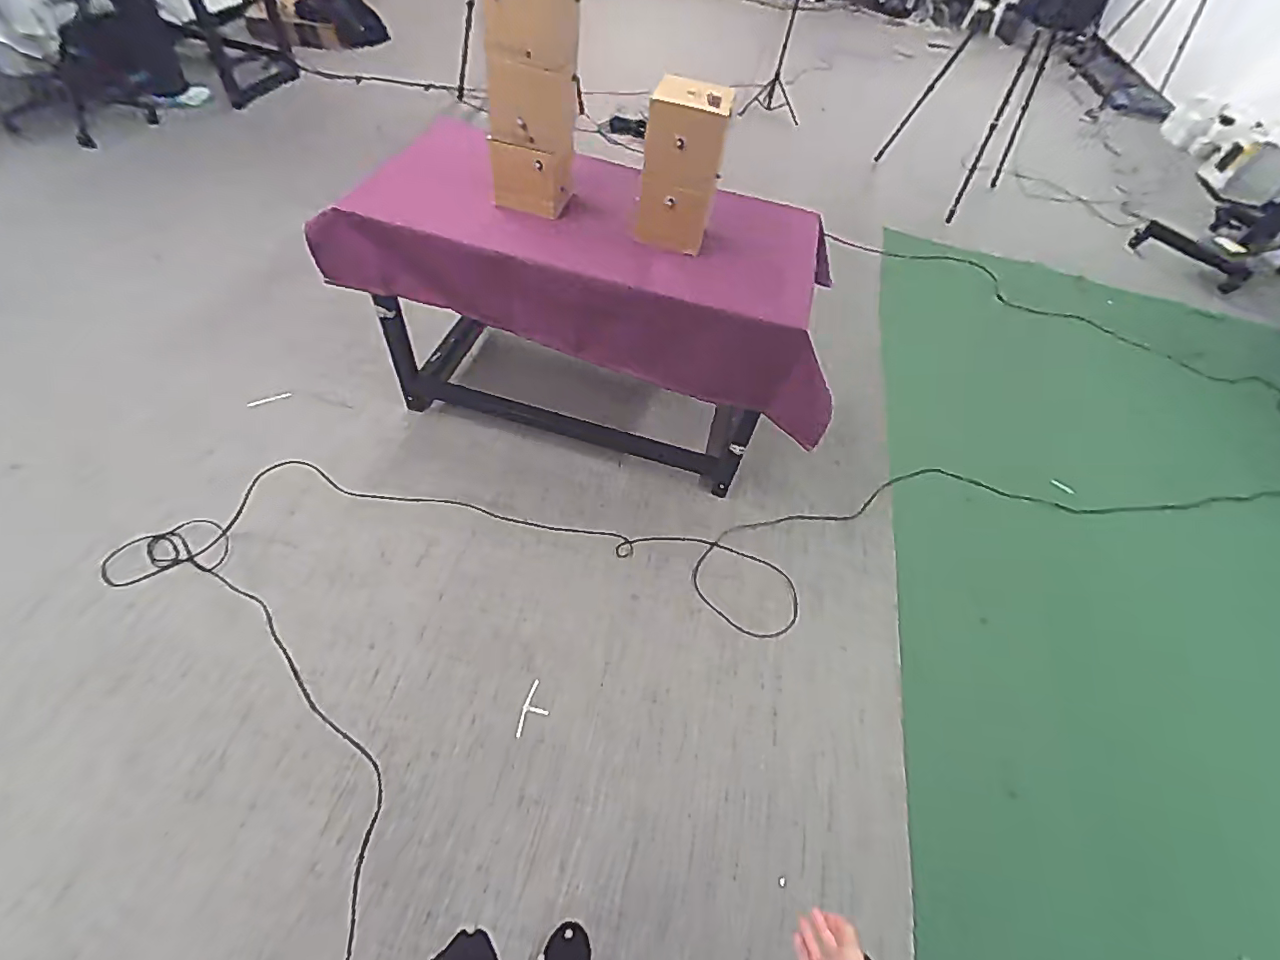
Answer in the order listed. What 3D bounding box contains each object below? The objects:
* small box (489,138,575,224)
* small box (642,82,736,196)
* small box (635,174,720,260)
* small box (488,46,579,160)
[{"bbox_3d":[-0.282,-0.807,1.434,0.179,0.176,0.168,15,52,2],"label":"small box"},{"bbox_3d":[0.113,-0.800,1.278,0.179,0.176,0.168,15,53,4],"label":"small box"},{"bbox_3d":[0.094,-0.700,1.407,0.179,0.176,0.168,16,53,3],"label":"small box"},{"bbox_3d":[-0.254,-0.908,1.306,0.168,0.176,0.179,14,52,2],"label":"small box"}]
